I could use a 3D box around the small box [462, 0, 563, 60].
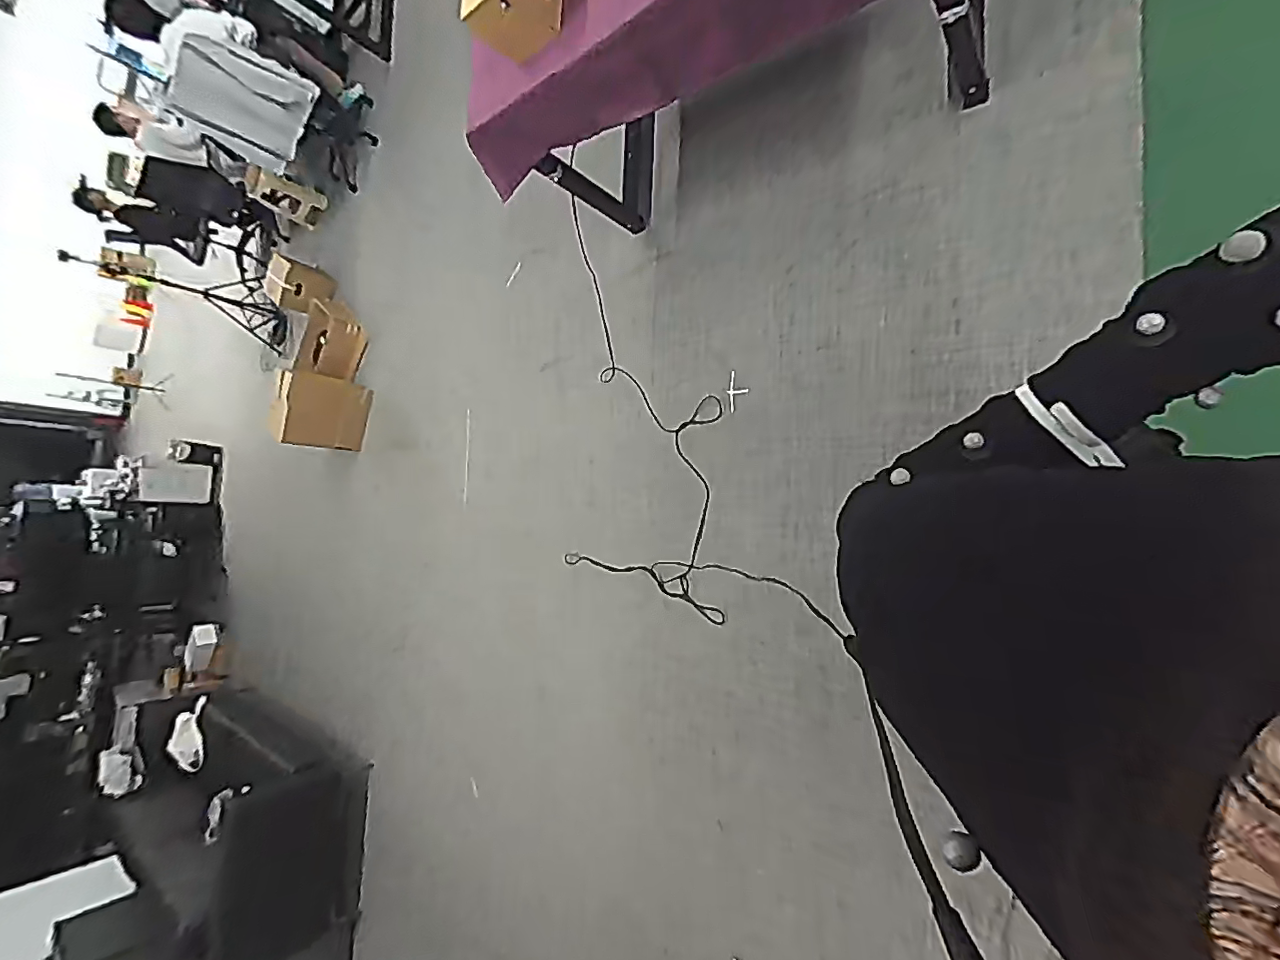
[{"bbox_3d":[-0.304,-1.182,1.313,0.179,0.176,0.168,2,86,38],"label":"small box"}]
